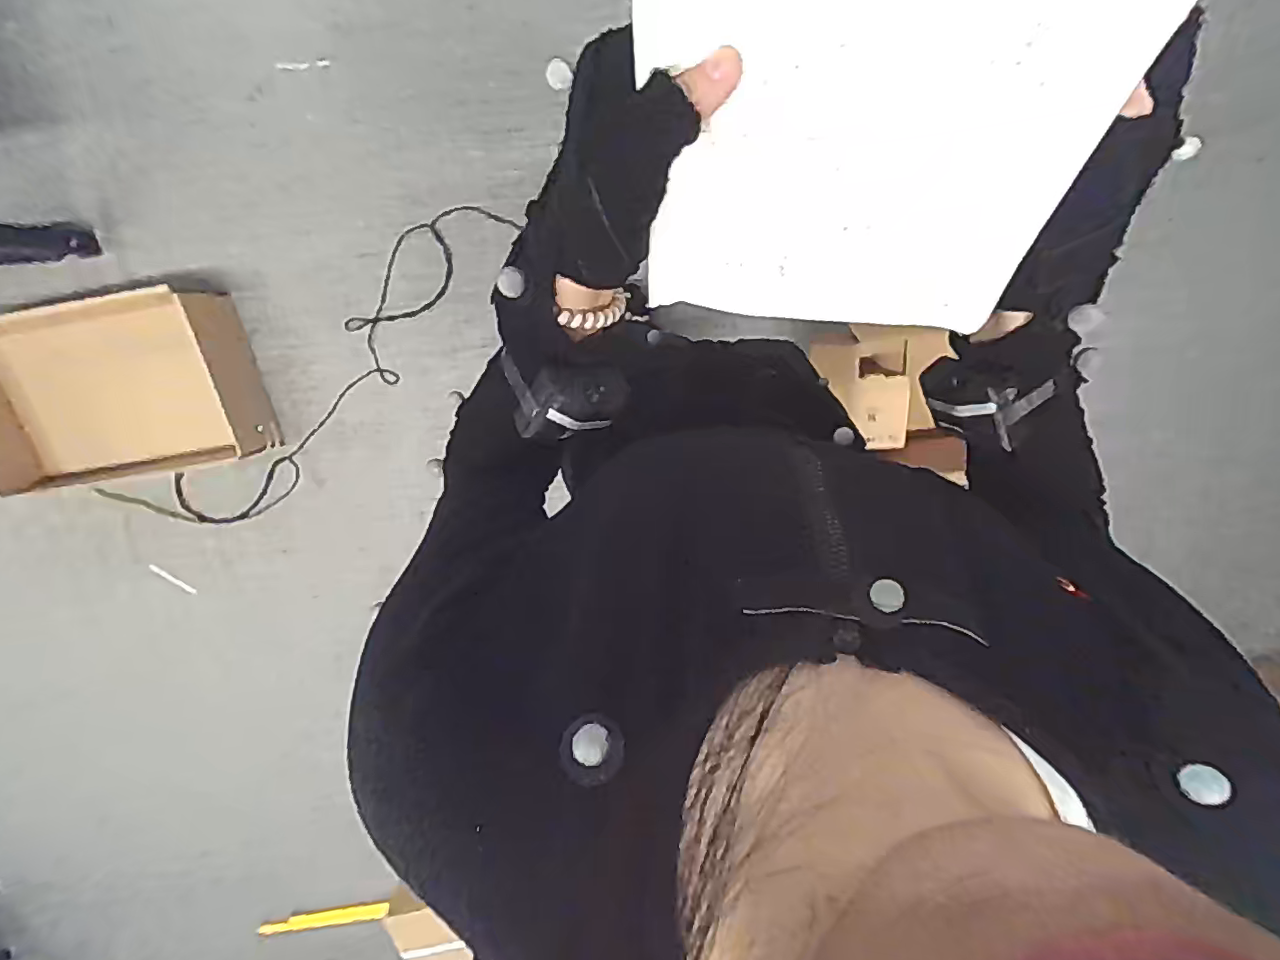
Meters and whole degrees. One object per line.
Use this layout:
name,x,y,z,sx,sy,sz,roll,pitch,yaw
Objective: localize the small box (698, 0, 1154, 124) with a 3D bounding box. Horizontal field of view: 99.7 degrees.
small box,0.125,-0.282,0.244,0.179,0.176,0.168,5,134,-3
